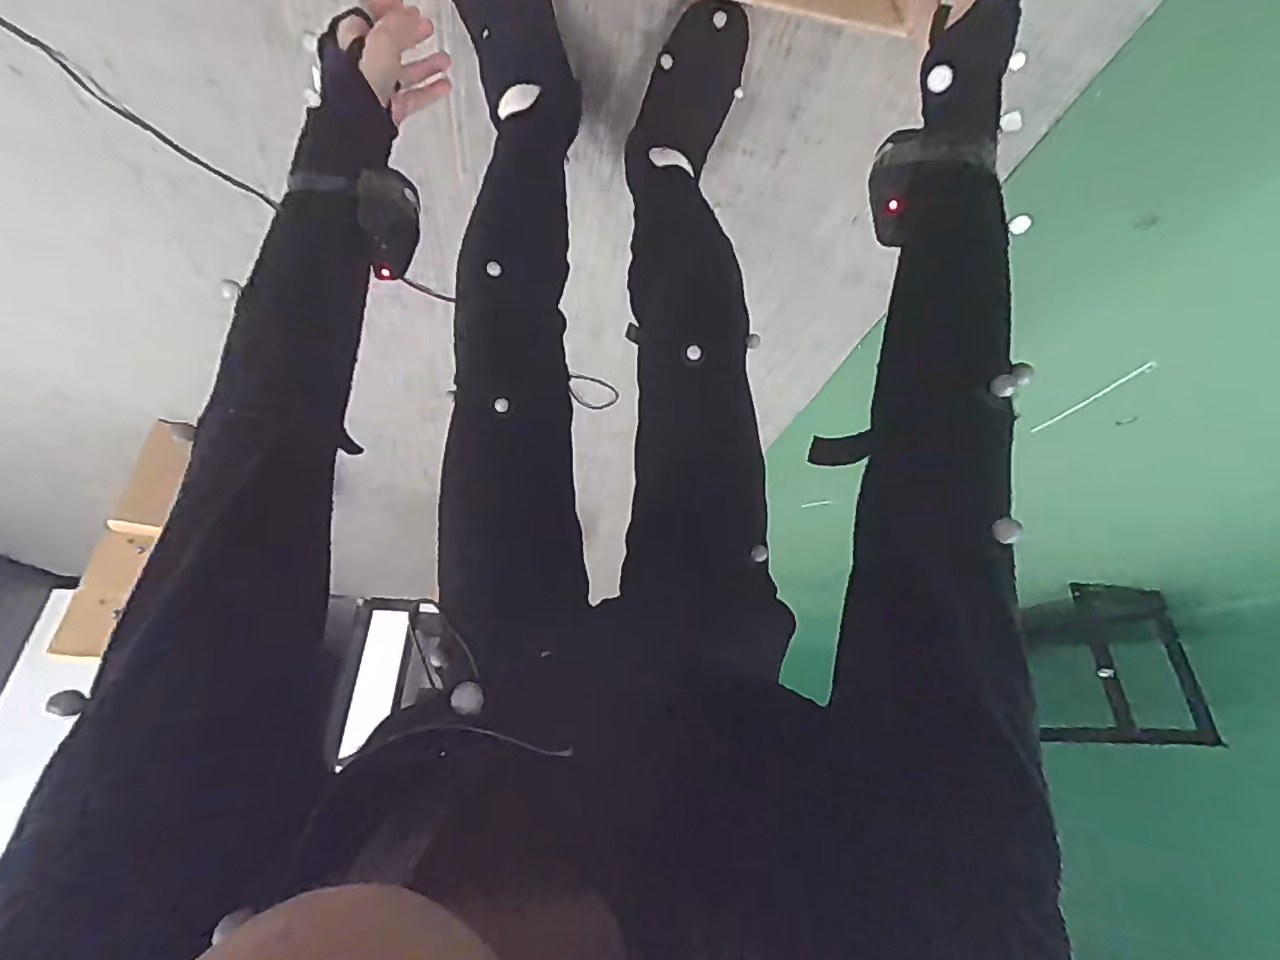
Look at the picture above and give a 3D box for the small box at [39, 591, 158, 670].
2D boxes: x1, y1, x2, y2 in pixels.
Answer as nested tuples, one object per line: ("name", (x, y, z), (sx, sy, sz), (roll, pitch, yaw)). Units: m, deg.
("small box", (-1.444, 0.409, 1.458), (0.168, 0.176, 0.179), (16, 150, -27))
